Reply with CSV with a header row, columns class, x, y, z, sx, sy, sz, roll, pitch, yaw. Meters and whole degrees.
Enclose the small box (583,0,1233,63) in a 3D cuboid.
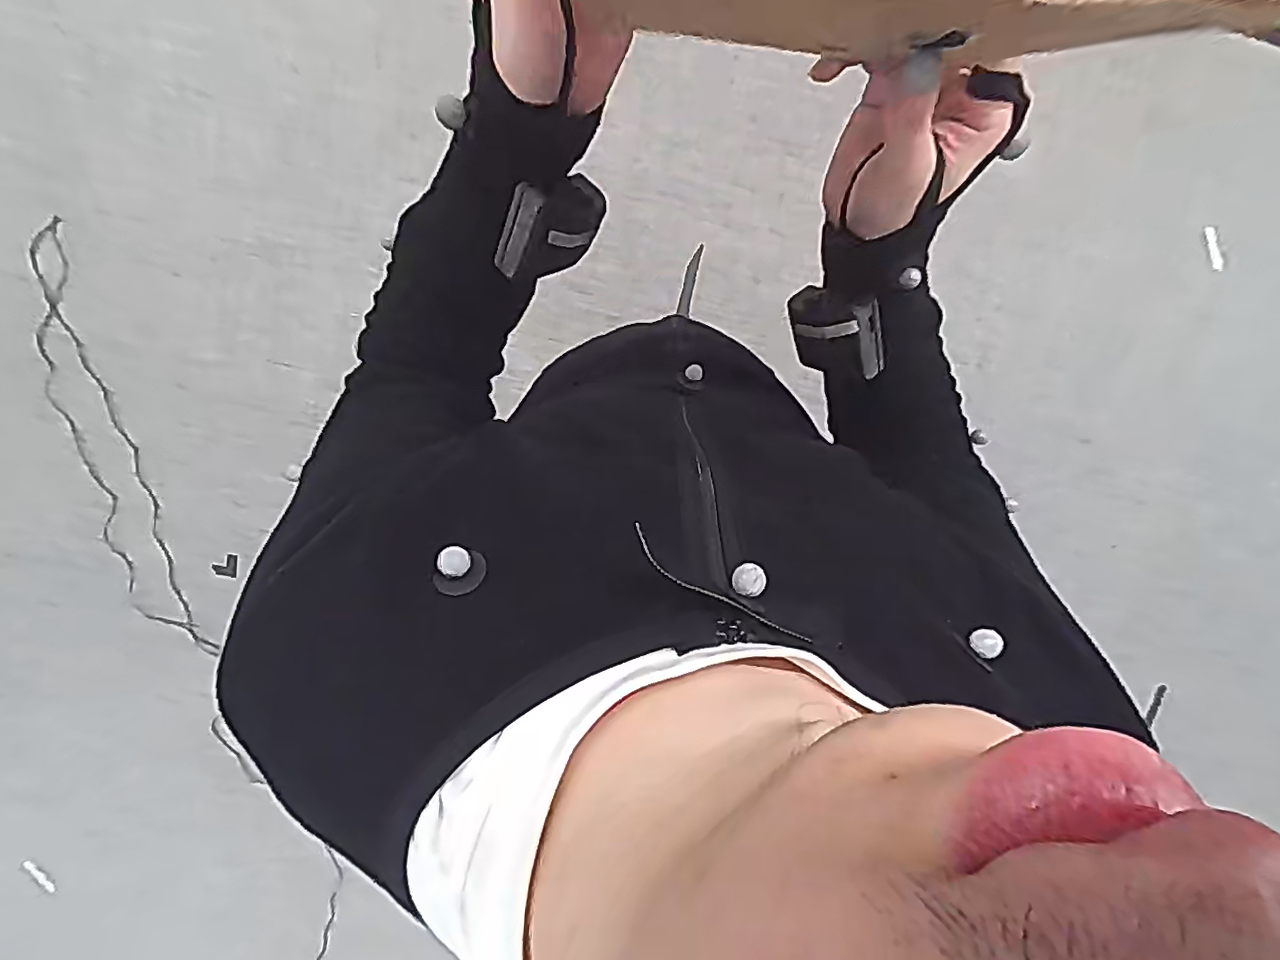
class,x,y,z,sx,sy,sz,roll,pitch,yaw
small box,0.063,-0.228,0.141,0.168,0.176,0.179,2,123,-3
